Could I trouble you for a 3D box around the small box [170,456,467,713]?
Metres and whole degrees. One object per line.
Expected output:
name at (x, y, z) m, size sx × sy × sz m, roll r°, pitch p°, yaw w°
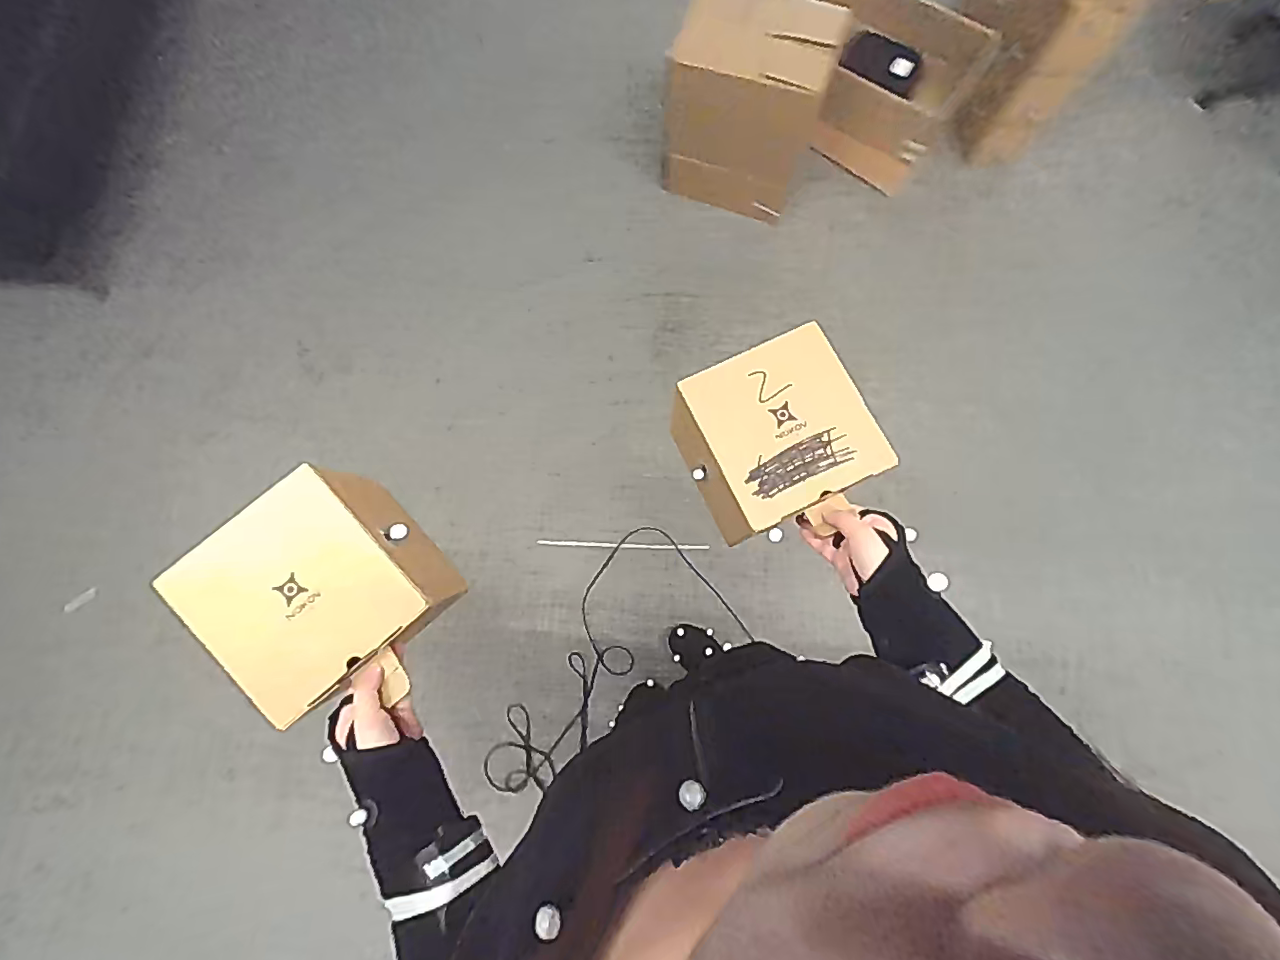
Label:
small box at (-0.313, 0.101, 0.570) m, size 0.168 × 0.176 × 0.179 m, roll -39°, pitch 90°, yaw -7°
